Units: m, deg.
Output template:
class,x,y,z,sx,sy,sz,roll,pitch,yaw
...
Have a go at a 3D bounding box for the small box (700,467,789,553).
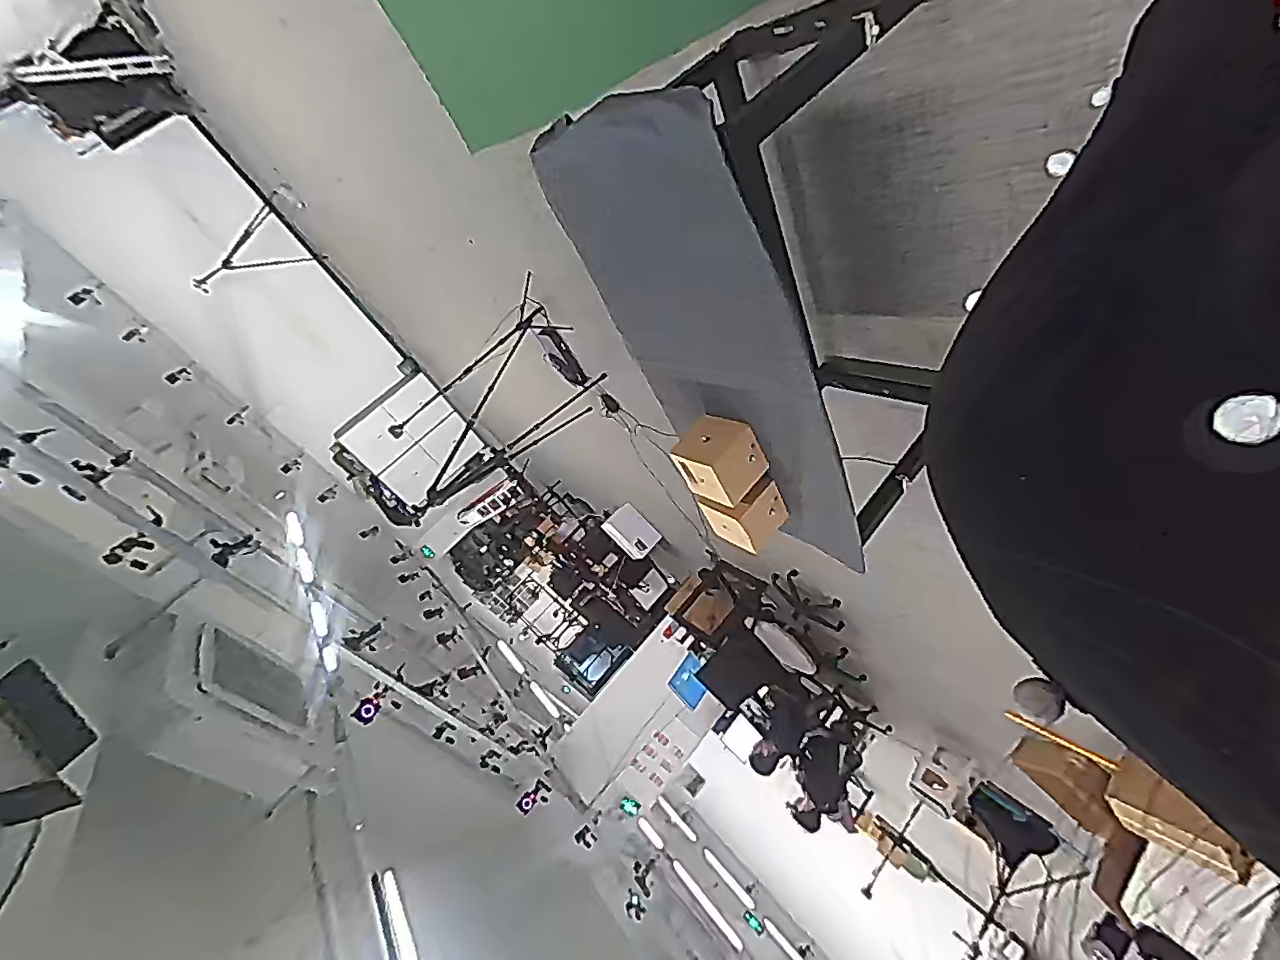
class,x,y,z,sx,sy,sz,roll,pitch,yaw
small box,0.319,0.083,1.636,0.179,0.176,0.168,25,155,49
